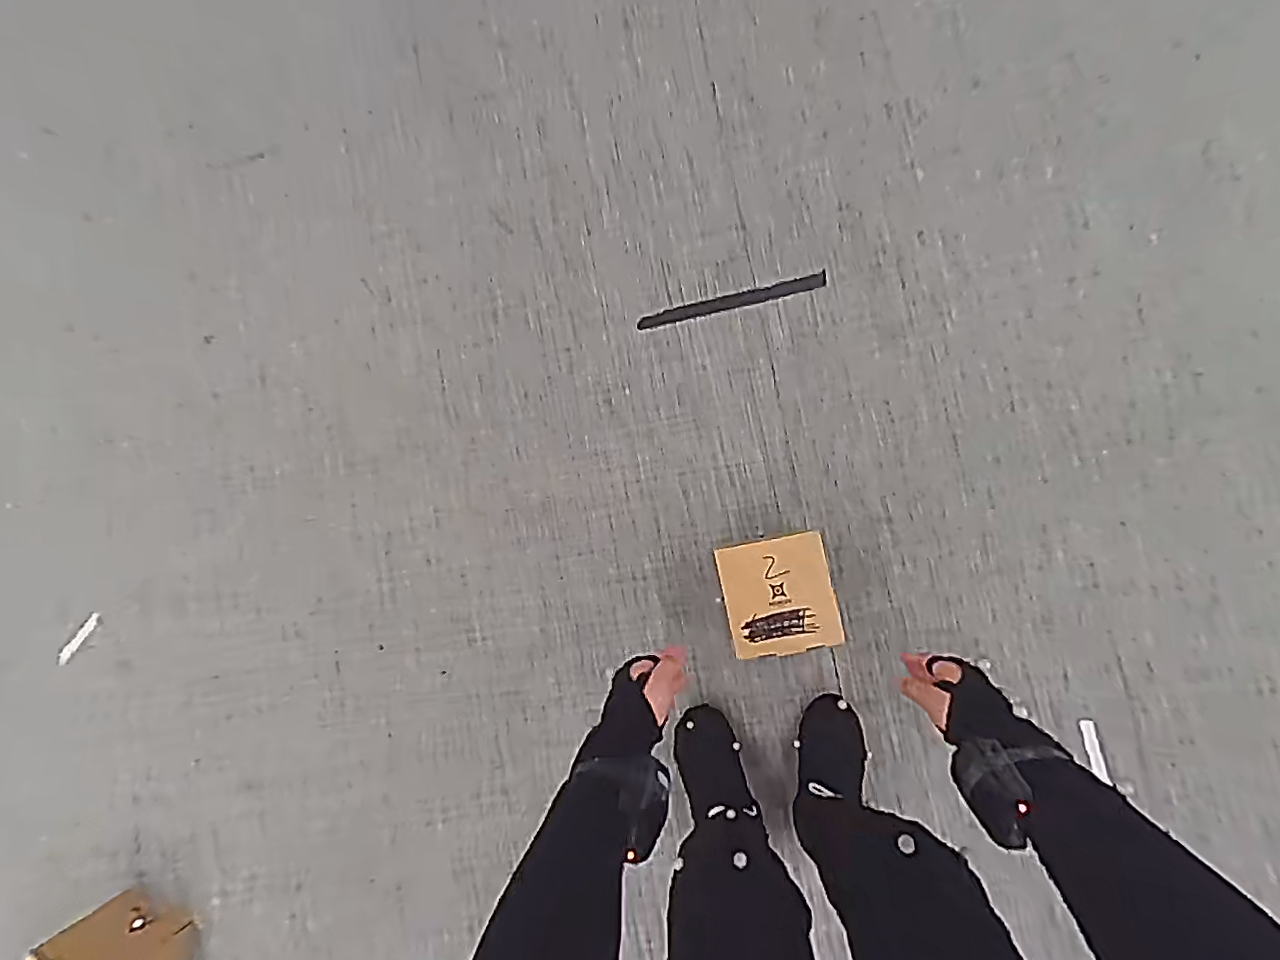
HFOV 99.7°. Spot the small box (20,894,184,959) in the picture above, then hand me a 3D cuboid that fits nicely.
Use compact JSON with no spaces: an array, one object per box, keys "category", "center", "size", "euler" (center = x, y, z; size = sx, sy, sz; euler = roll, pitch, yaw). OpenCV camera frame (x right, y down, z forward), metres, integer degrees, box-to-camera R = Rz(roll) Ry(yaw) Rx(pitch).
[{"category":"small box","center":[-0.996,0.925,0.992],"size":[0.168,0.176,0.179],"euler":[15,87,8]}]
